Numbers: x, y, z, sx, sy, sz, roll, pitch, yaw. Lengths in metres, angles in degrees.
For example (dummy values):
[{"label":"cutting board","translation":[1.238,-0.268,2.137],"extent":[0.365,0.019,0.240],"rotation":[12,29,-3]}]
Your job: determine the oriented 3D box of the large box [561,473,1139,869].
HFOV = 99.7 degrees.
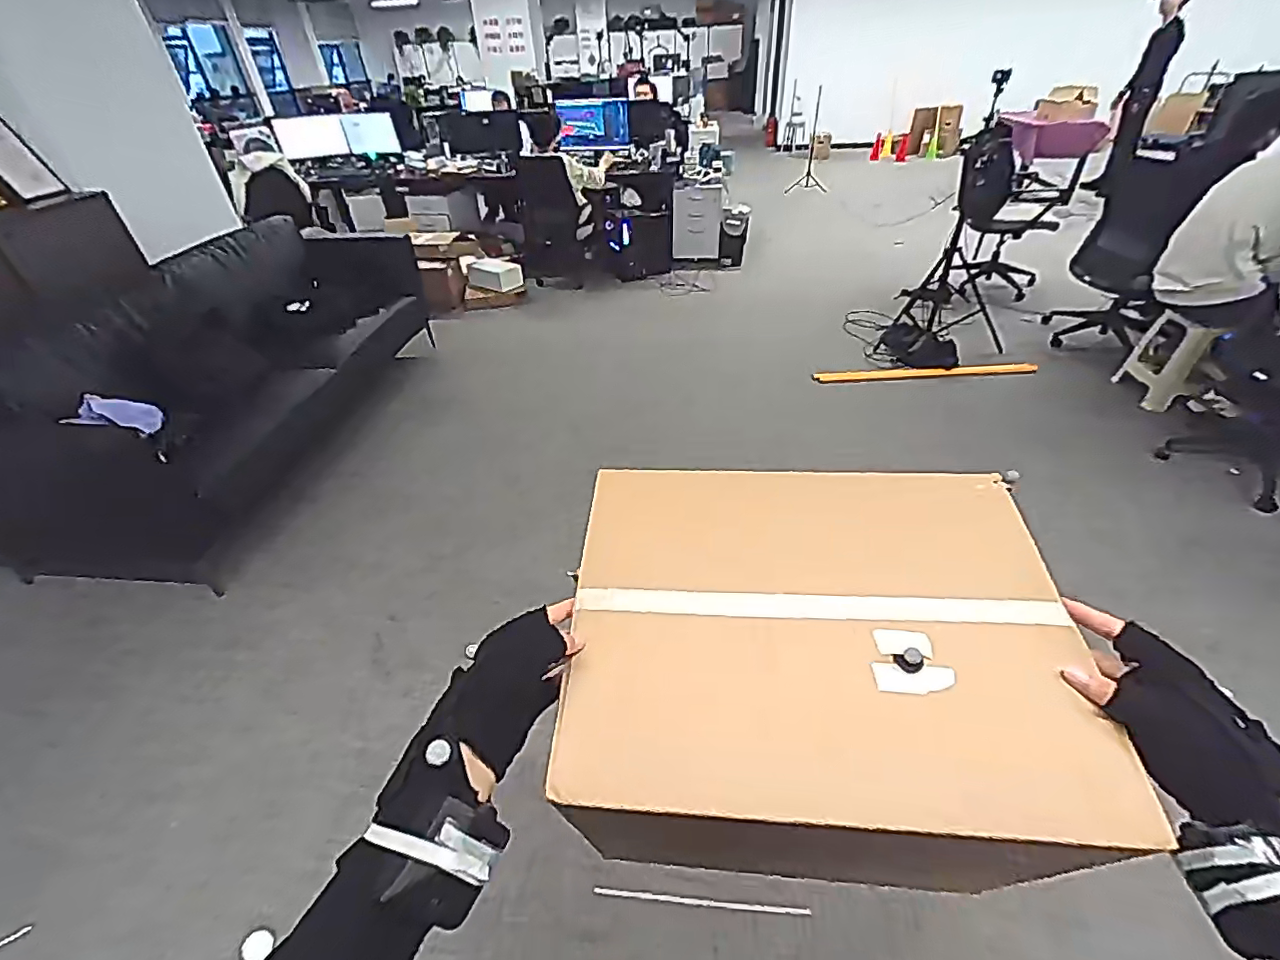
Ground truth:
[{"label":"large box","translation":[0.156,0.206,0.584],"extent":[0.408,0.320,0.320],"rotation":[1,50,6]}]
